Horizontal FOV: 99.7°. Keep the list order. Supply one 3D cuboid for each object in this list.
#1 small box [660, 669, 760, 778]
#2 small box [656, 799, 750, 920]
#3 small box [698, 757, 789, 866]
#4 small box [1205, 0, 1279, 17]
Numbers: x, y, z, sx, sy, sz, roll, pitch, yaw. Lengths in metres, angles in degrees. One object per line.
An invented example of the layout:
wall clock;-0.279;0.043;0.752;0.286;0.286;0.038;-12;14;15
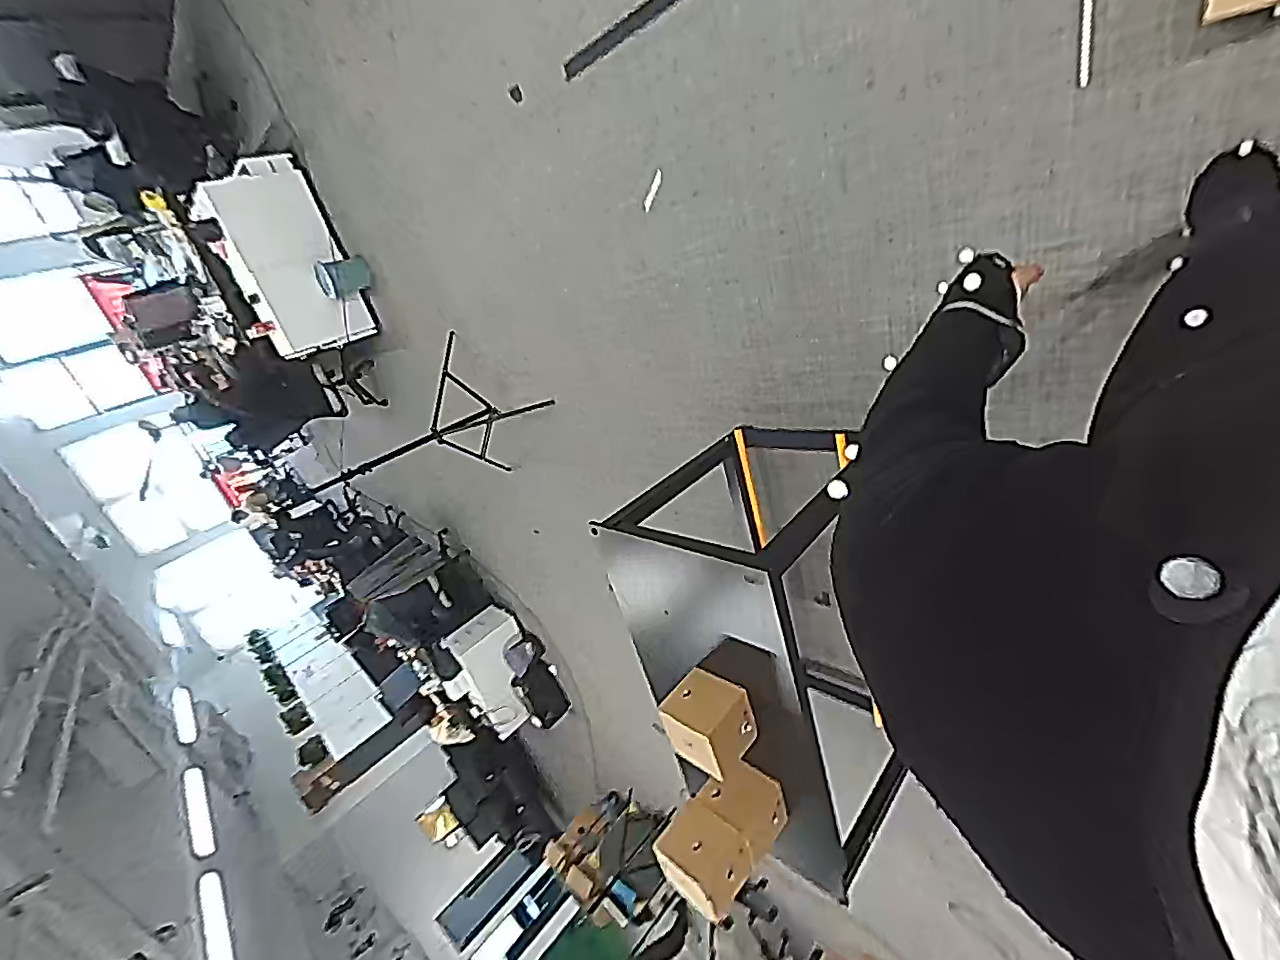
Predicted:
small box;0.186;0.628;1.422;0.179;0.176;0.168;7;124;47
small box;0.178;1.005;1.449;0.179;0.176;0.168;7;123;47
small box;0.295;0.927;1.534;0.179;0.176;0.168;11;126;46
small box;0.894;-0.744;0.714;0.179;0.176;0.168;13;128;44
